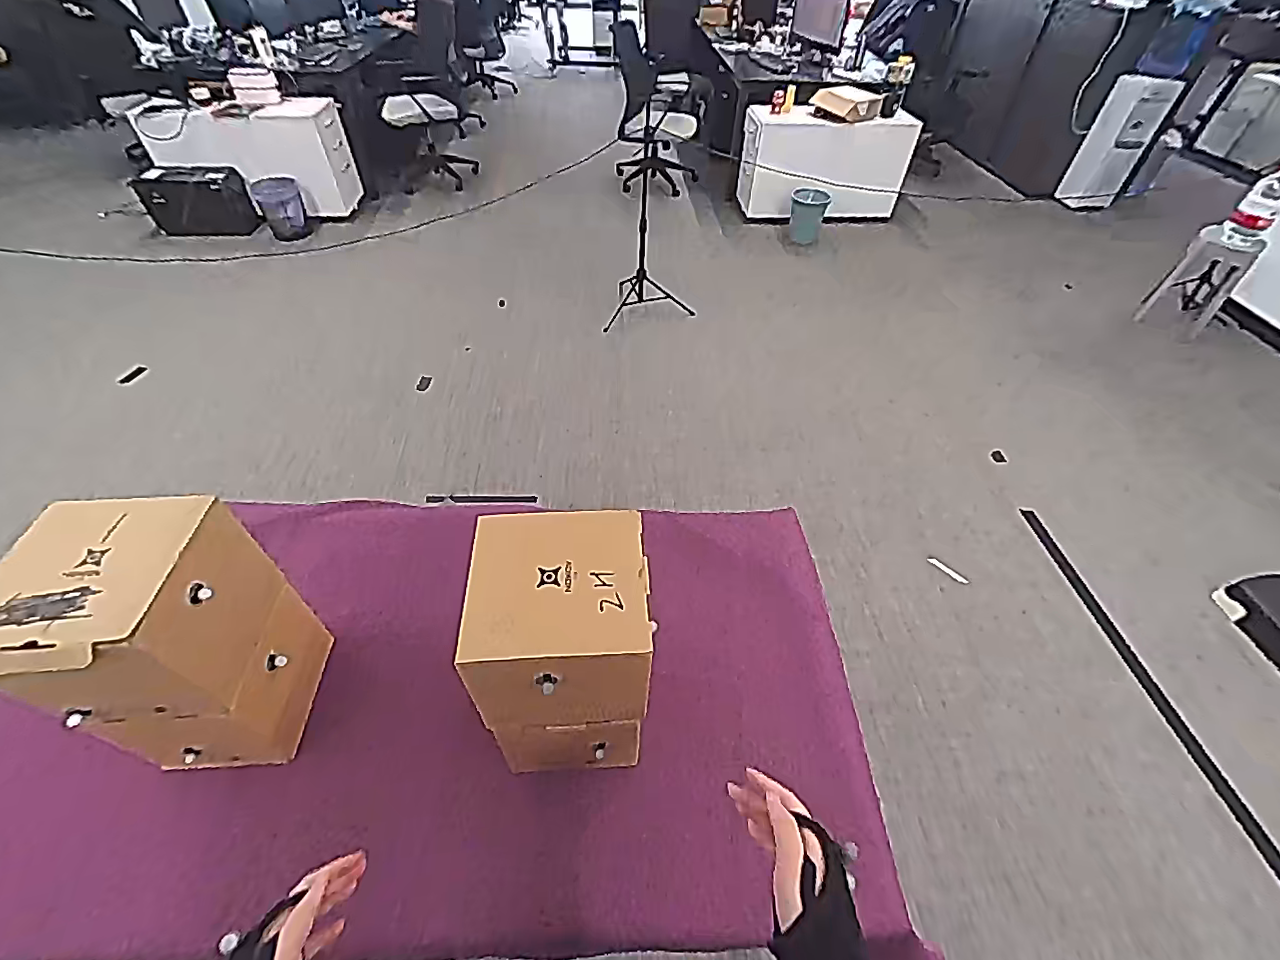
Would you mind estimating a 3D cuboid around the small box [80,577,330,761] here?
[{"bbox_3d":[-0.536,0.246,0.705,0.168,0.176,0.179,-1,48,-4],"label":"small box"}]

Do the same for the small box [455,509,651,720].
[{"bbox_3d":[-0.082,0.149,0.587,0.179,0.176,0.168,-1,48,-4],"label":"small box"}]

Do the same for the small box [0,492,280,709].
[{"bbox_3d":[-0.531,0.134,0.585,0.168,0.176,0.179,-2,47,-5],"label":"small box"}]

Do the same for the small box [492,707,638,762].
[{"bbox_3d":[-0.086,0.258,0.710,0.168,0.176,0.179,-1,47,-3],"label":"small box"}]
